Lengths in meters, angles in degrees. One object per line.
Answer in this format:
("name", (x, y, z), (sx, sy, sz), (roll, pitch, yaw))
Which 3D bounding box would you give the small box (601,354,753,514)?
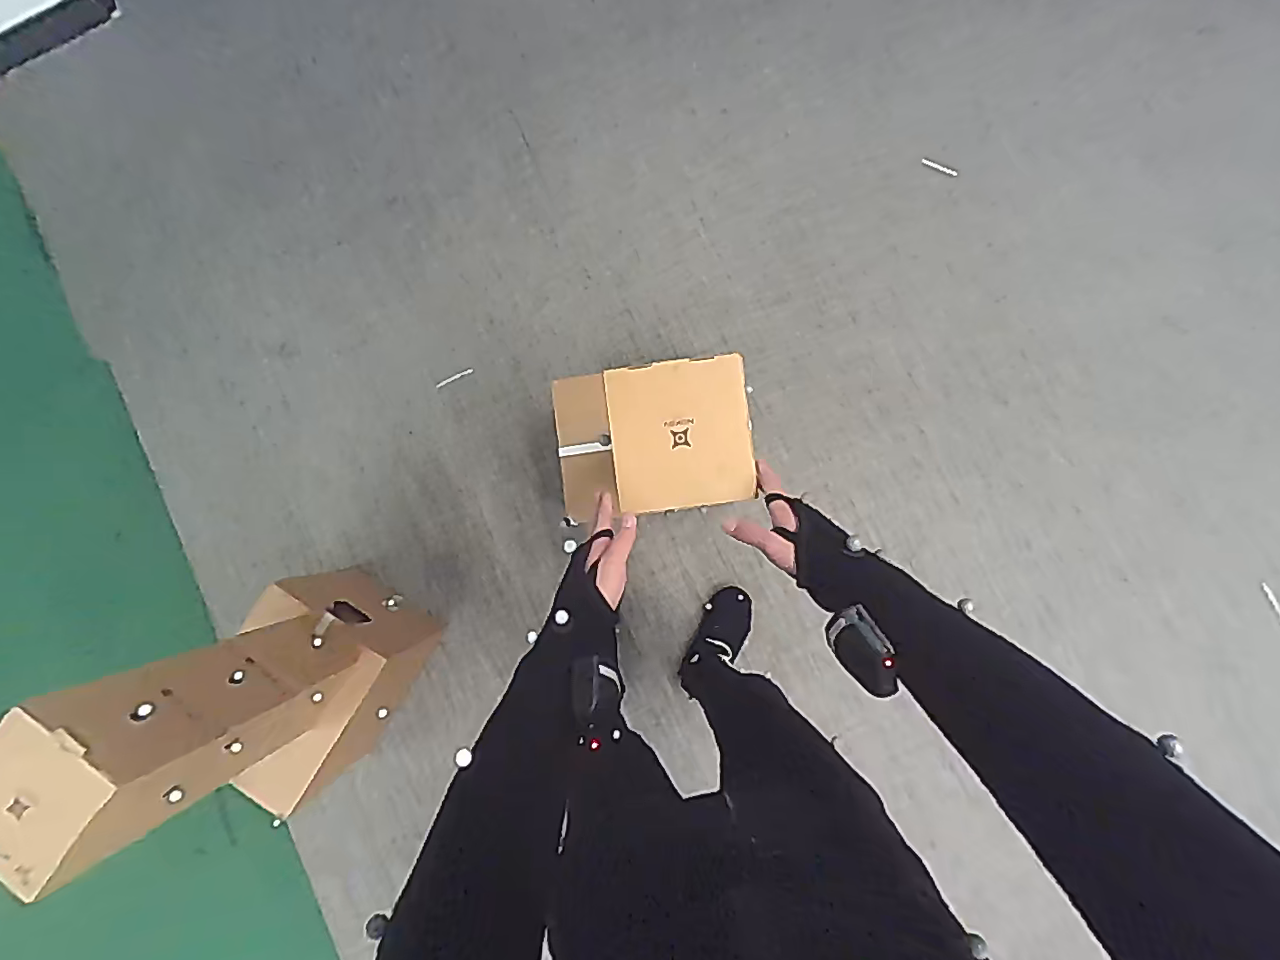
("small box", (0.047, -0.052, 0.715), (0.168, 0.176, 0.179), (-7, 87, 2))

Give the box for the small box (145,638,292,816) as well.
("small box", (-0.722, 0.389, 0.890), (0.168, 0.176, 0.179), (37, 90, 4))

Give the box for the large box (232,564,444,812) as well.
("large box", (-0.751, 0.462, 1.301), (0.320, 0.320, 0.408), (32, 90, 5))

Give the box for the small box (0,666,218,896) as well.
("small box", (-0.727, 0.382, 0.727), (0.168, 0.176, 0.179), (37, 89, 4))
